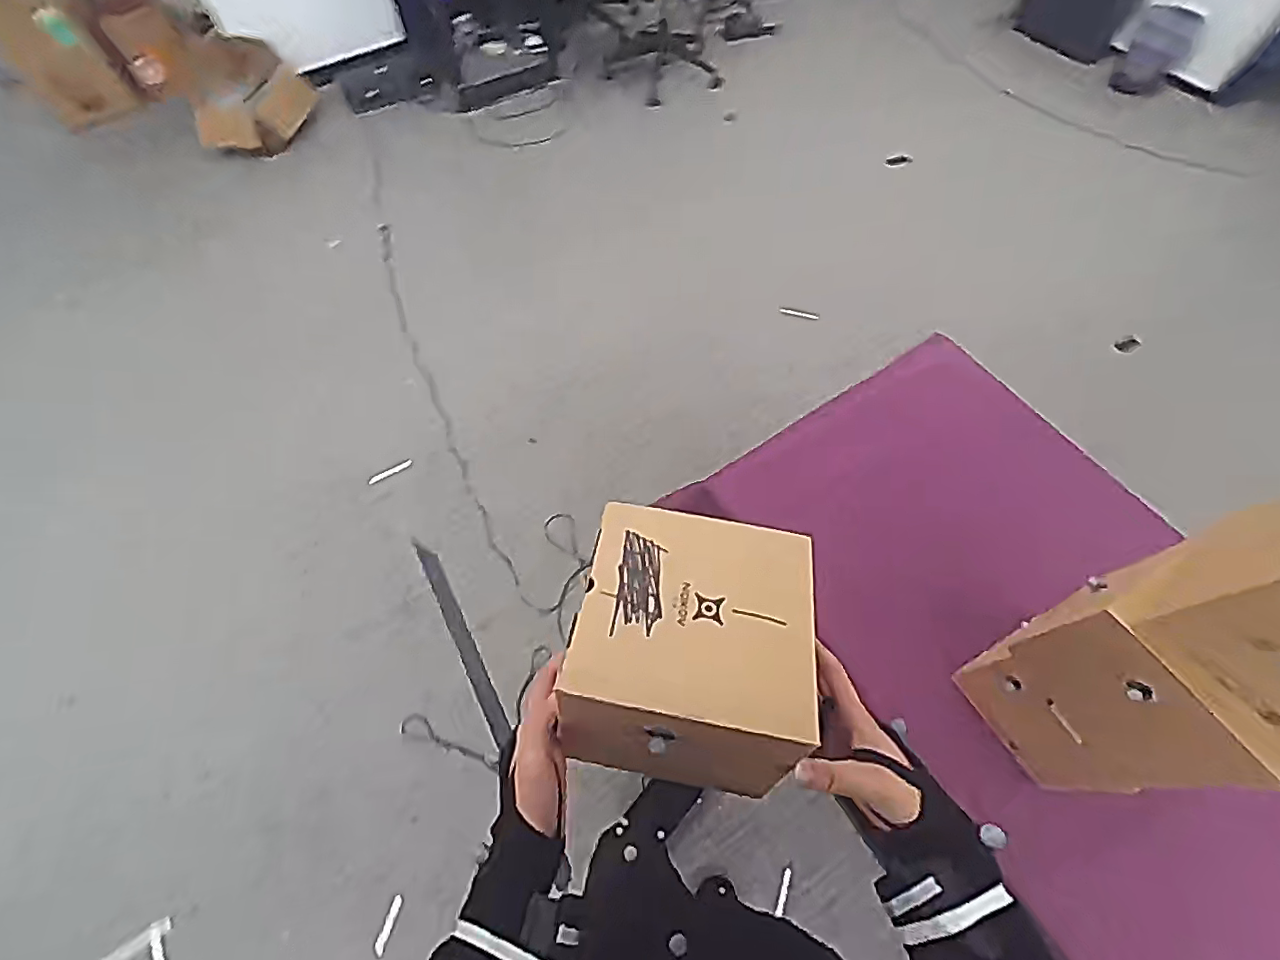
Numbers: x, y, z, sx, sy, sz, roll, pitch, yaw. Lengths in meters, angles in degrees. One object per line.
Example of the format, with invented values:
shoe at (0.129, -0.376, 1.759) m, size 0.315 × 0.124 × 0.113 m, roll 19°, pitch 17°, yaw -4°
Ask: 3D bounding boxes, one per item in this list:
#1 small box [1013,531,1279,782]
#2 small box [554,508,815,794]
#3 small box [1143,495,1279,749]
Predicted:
small box at (0.546, 0.188, 0.560) m, size 0.168 × 0.176 × 0.179 m, roll -27°, pitch 64°, yaw -13°
small box at (0.035, 0.149, 0.463) m, size 0.179 × 0.176 × 0.168 m, roll 10°, pitch 49°, yaw 3°
small box at (0.561, 0.105, 0.419) m, size 0.179 × 0.176 × 0.168 m, roll -34°, pitch 66°, yaw -17°
